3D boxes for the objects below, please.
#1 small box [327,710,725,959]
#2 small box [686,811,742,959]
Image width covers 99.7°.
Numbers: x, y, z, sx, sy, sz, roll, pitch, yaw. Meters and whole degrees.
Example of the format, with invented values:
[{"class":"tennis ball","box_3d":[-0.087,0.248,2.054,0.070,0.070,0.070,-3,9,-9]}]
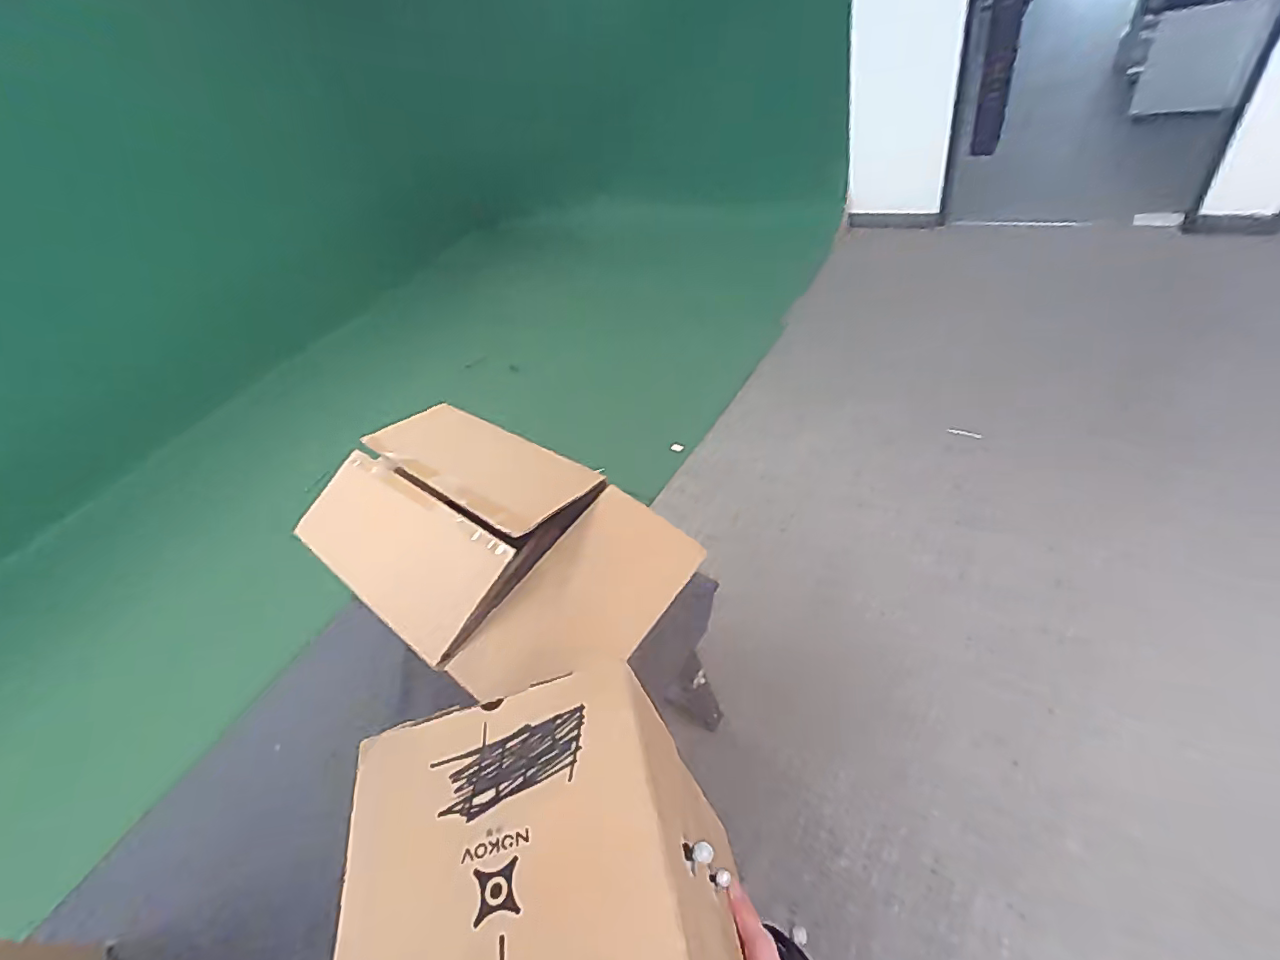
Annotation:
[{"class":"small box","box_3d":[-0.047,0.261,0.299,0.168,0.176,0.179,-19,48,1]},{"class":"small box","box_3d":[-0.013,0.368,0.420,0.168,0.176,0.179,-18,46,1]}]
